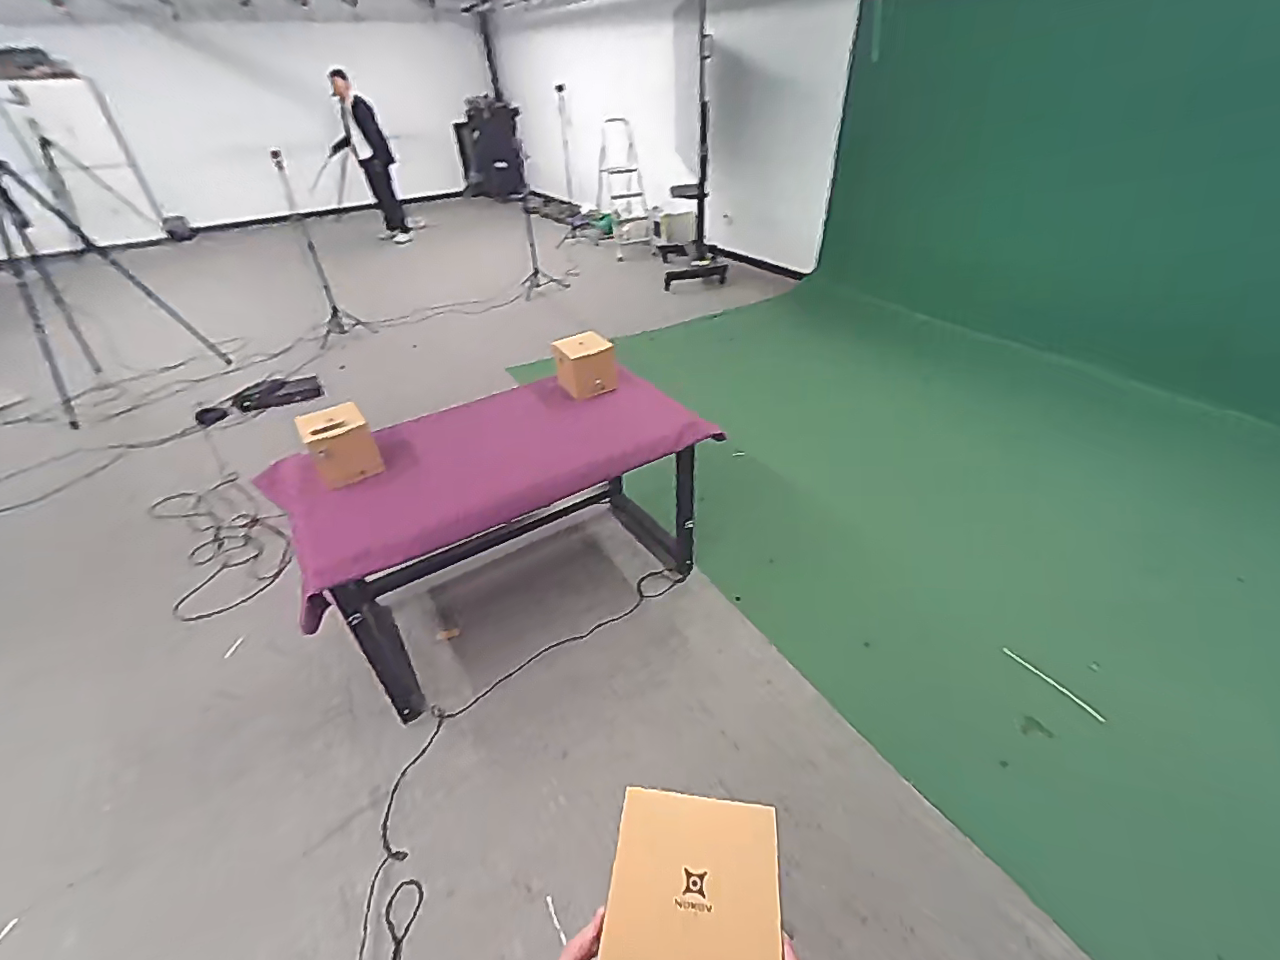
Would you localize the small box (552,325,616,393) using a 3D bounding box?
[{"bbox_3d":[-0.201,-0.437,1.958,0.168,0.176,0.179,-24,43,-22],"label":"small box"}]

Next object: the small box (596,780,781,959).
[{"bbox_3d":[0.051,0.456,0.572,0.168,0.176,0.179,4,37,6],"label":"small box"}]
